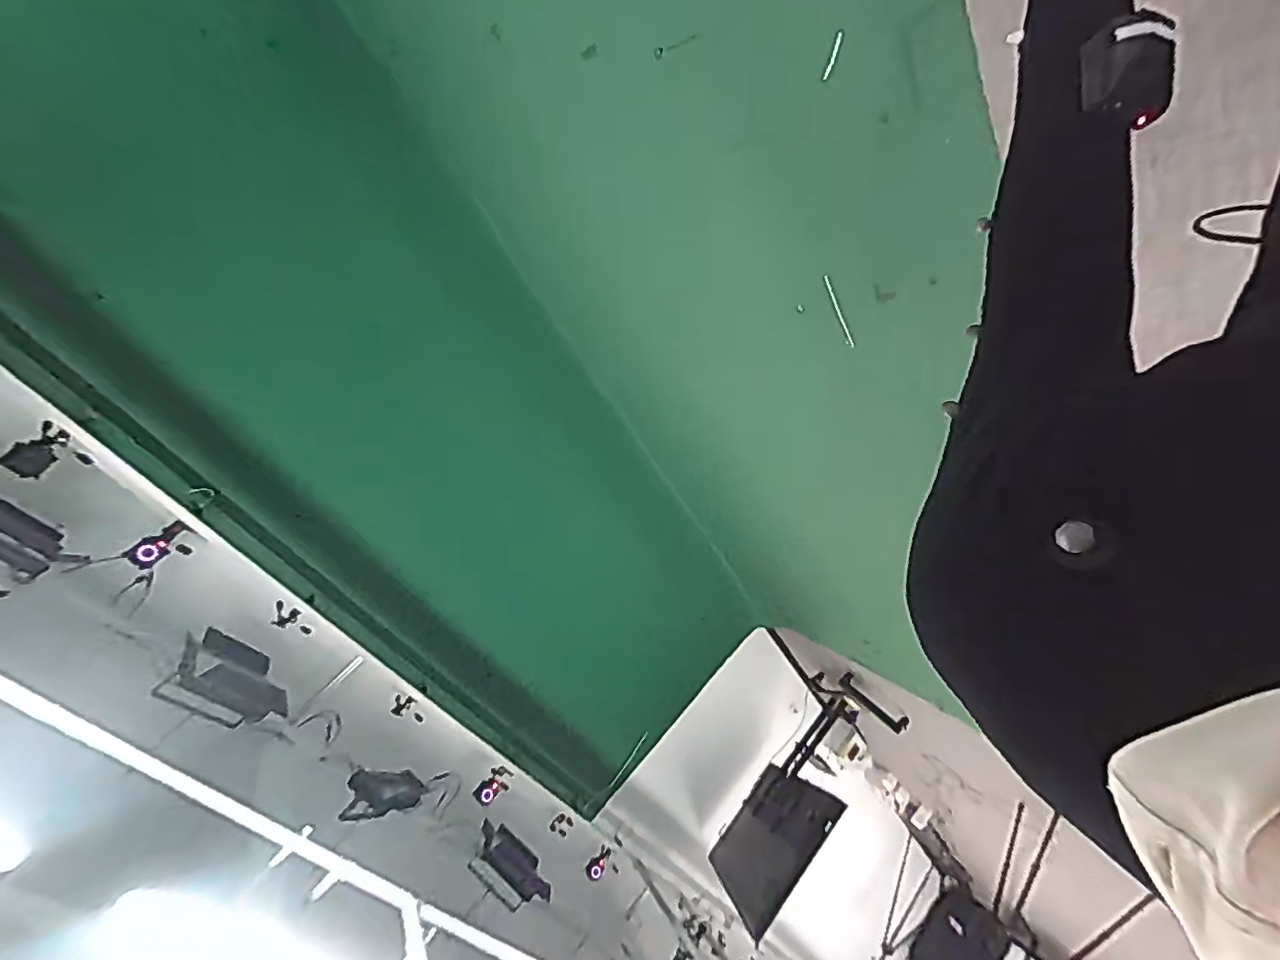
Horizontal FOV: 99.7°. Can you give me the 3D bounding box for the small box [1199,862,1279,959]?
[{"bbox_3d":[1.272,0.926,1.090,0.168,0.176,0.179,20,149,57],"label":"small box"}]
